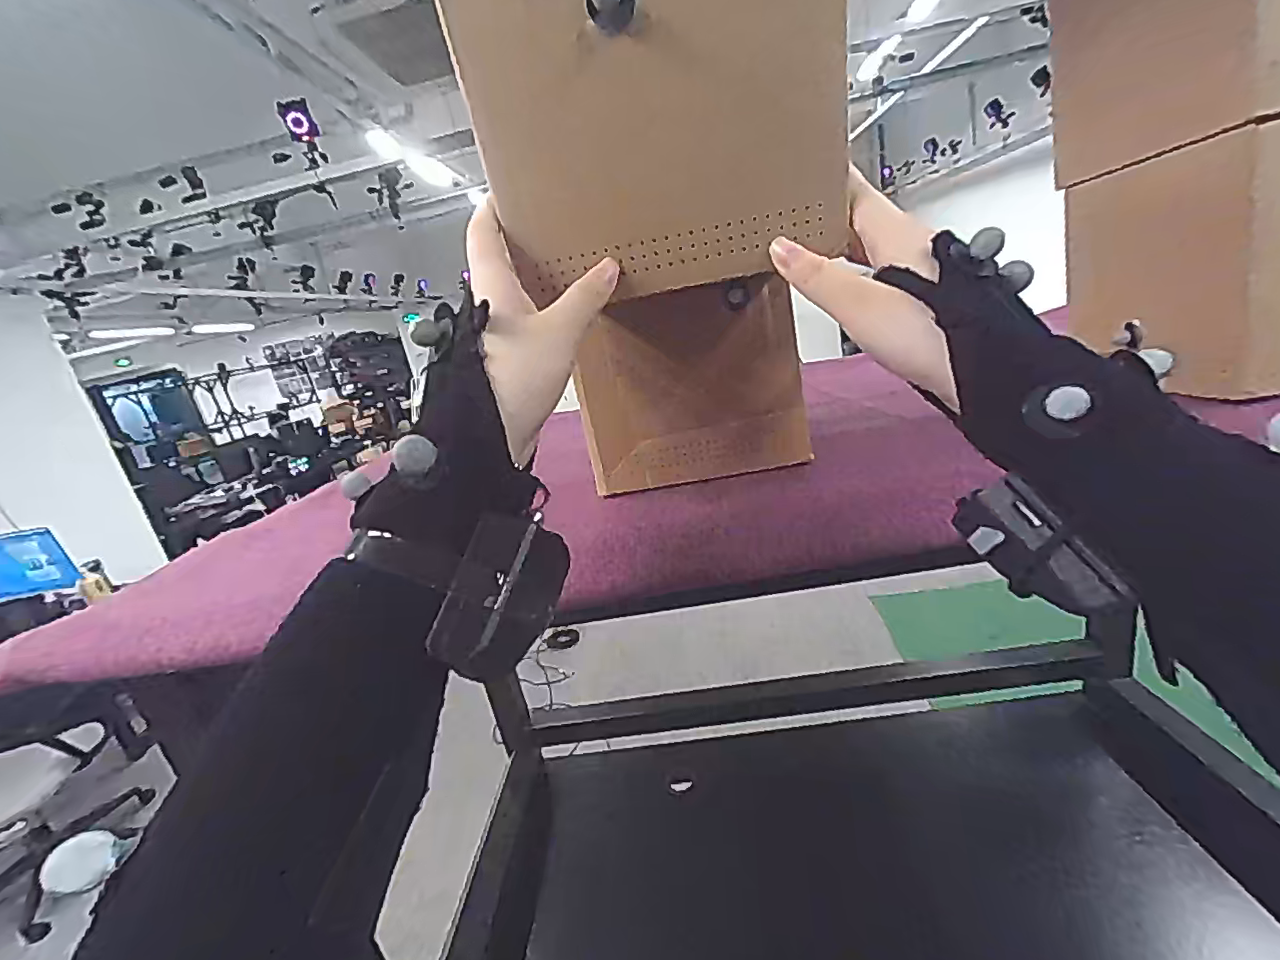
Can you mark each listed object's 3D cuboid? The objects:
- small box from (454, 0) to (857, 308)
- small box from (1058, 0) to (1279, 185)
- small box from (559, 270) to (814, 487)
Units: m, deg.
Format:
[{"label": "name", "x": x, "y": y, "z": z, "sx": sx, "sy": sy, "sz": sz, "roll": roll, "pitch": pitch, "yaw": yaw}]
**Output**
[{"label": "small box", "x": 0.016, "y": -0.208, "z": 0.312, "sx": 0.179, "sy": 0.176, "sz": 0.168, "roll": -7, "pitch": 29, "yaw": 8}, {"label": "small box", "x": 0.416, "y": -0.319, "z": 0.351, "sx": 0.168, "sy": 0.176, "sz": 0.179, "roll": -11, "pitch": 15, "yaw": 8}, {"label": "small box", "x": 0.043, "y": -0.100, "z": 0.481, "sx": 0.179, "sy": 0.176, "sz": 0.168, "roll": -9, "pitch": 17, "yaw": 8}]
